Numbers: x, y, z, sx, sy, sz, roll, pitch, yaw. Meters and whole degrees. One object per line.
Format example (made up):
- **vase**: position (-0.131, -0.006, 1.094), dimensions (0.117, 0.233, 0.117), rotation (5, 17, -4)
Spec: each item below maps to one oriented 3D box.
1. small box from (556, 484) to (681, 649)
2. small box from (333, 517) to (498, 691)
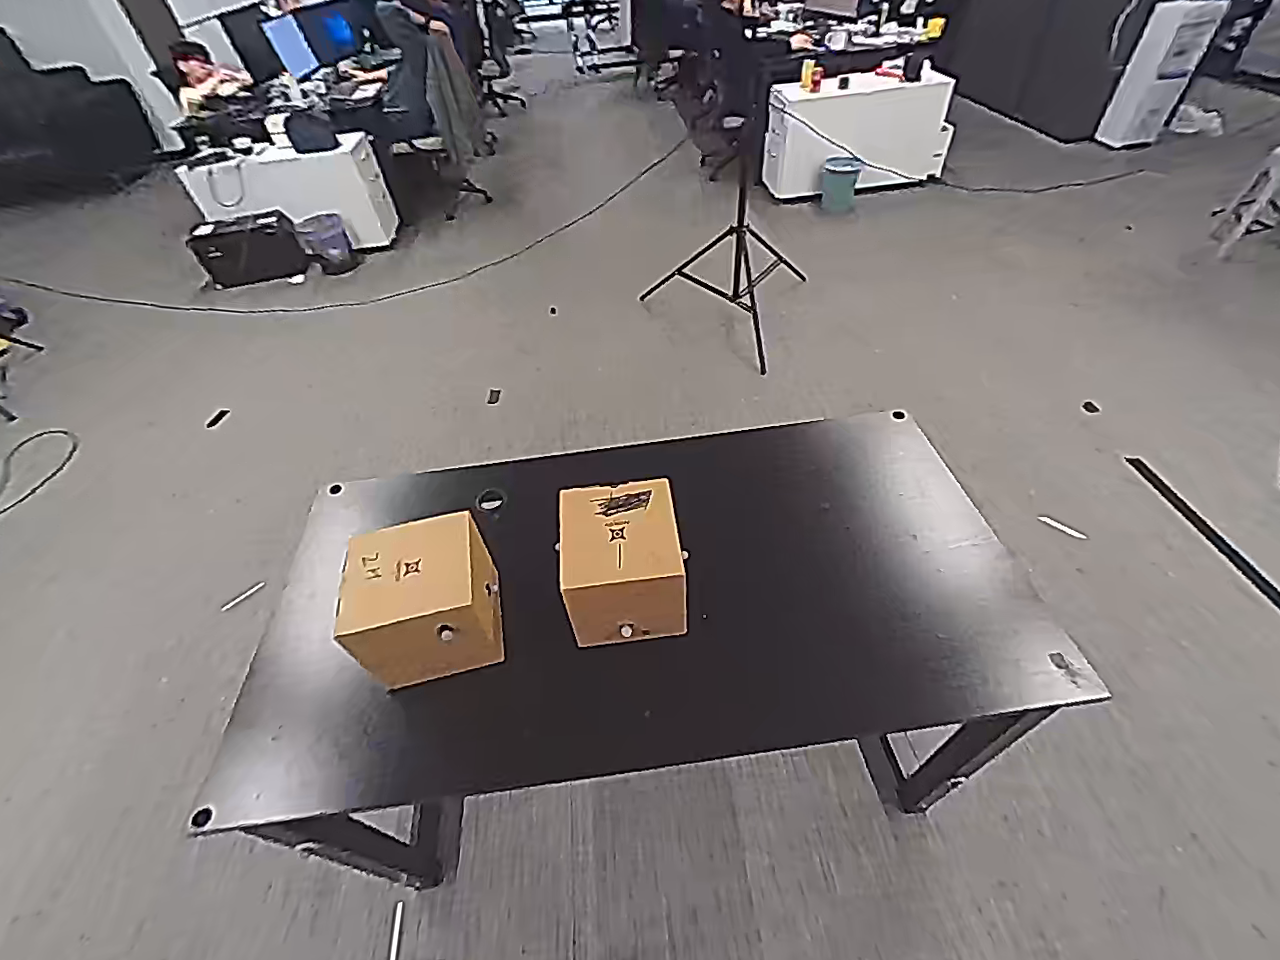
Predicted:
- **small box**: position (-0.030, 0.132, 0.818), dimensions (0.168, 0.176, 0.179), rotation (-7, 48, -1)
- **small box**: position (-0.314, 0.184, 0.797), dimensions (0.179, 0.176, 0.168), rotation (-13, 47, -6)
